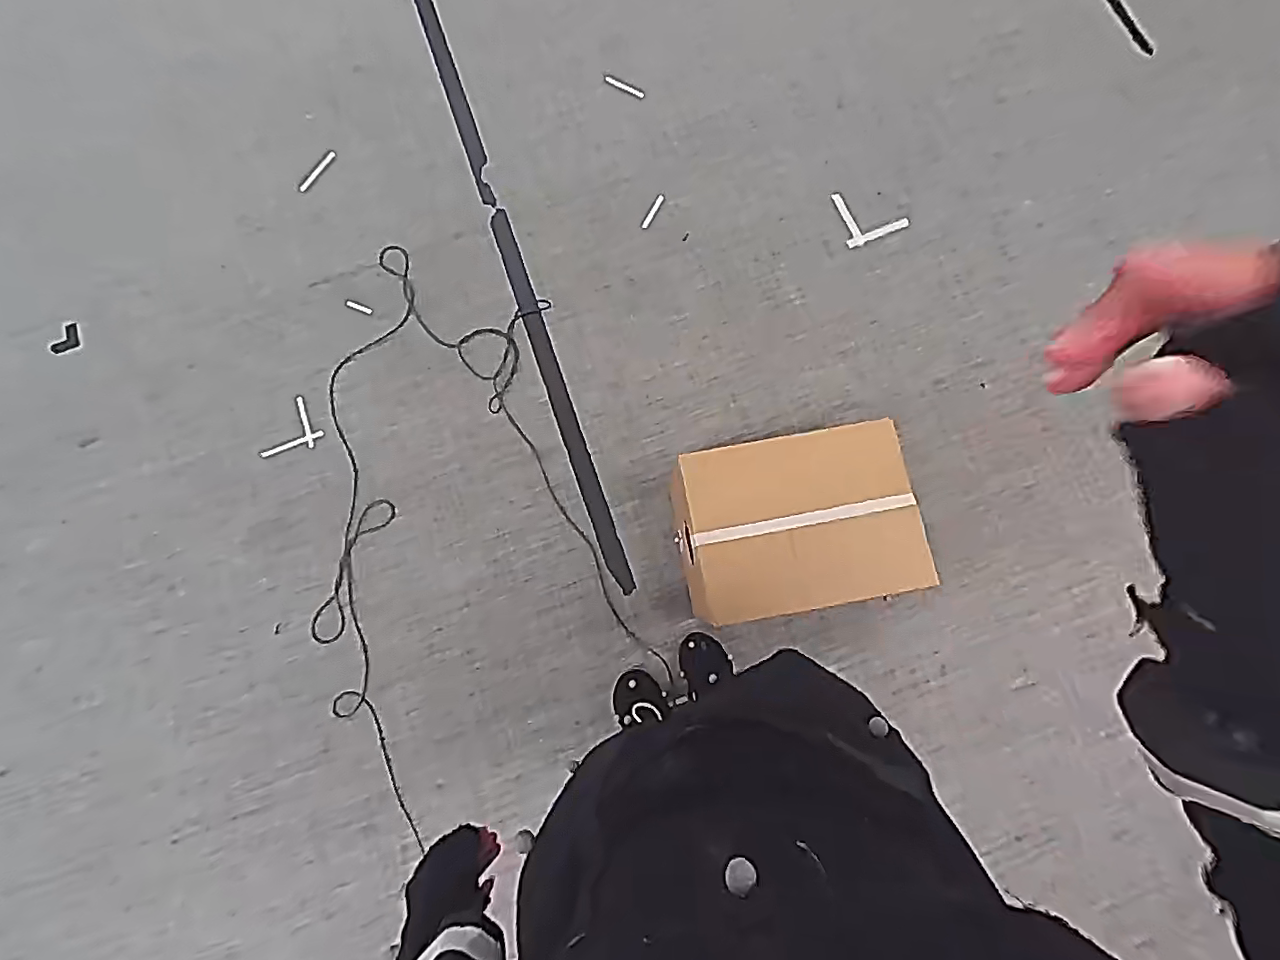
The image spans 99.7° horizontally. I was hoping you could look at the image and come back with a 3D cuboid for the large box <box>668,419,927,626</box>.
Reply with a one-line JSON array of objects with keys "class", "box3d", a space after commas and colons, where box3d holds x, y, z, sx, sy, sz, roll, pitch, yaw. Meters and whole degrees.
[{"class": "large box", "box3d": [0.287, 0.097, 1.117, 0.408, 0.320, 0.320, -10, 78, -2]}]
